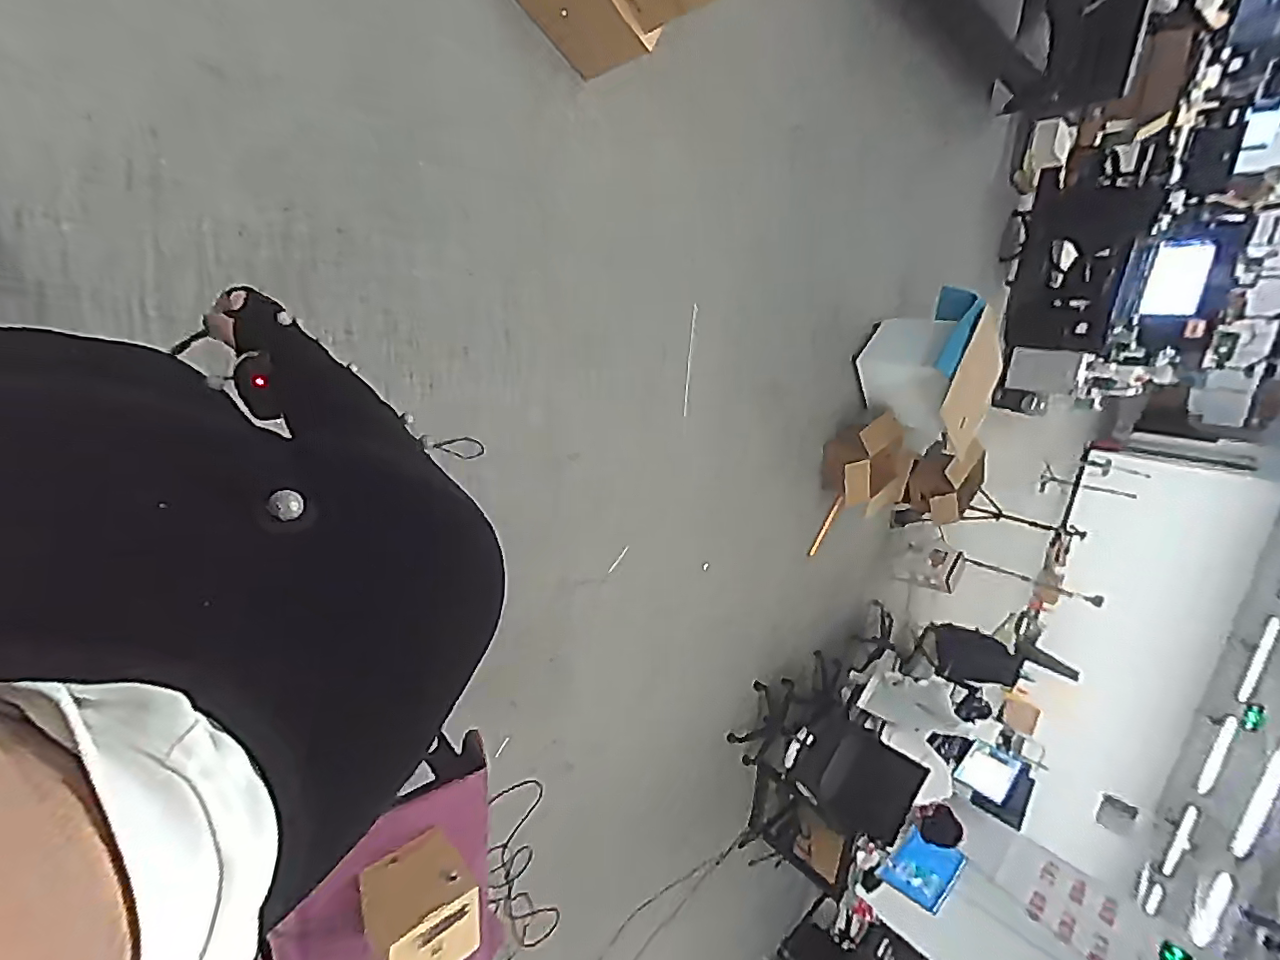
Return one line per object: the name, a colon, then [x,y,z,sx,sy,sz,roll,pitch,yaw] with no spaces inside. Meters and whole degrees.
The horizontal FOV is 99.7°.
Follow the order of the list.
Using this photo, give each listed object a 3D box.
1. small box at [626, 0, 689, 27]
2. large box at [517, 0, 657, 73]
small box: [0.055,-1.308,1.362,0.168,0.176,0.179,33,83,-45]
large box: [-0.149,-1.434,1.469,0.408,0.320,0.320,24,88,-45]
